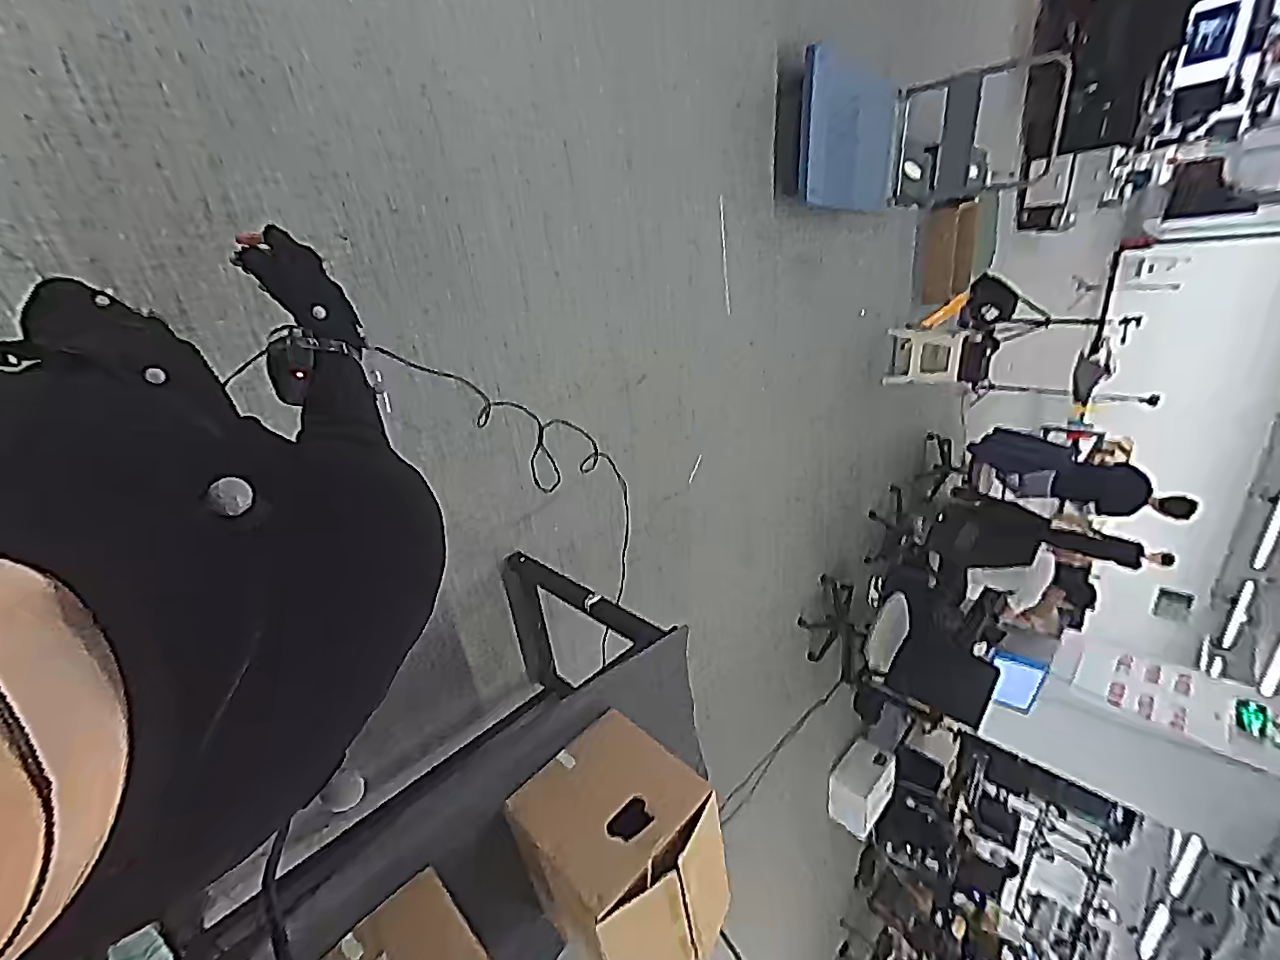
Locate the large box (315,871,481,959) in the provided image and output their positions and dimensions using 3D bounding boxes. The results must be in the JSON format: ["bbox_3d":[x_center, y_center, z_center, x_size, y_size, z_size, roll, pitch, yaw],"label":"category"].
[{"bbox_3d":[-0.371,0.964,0.873,0.320,0.320,0.408,-29,123,-37],"label":"large box"}]
